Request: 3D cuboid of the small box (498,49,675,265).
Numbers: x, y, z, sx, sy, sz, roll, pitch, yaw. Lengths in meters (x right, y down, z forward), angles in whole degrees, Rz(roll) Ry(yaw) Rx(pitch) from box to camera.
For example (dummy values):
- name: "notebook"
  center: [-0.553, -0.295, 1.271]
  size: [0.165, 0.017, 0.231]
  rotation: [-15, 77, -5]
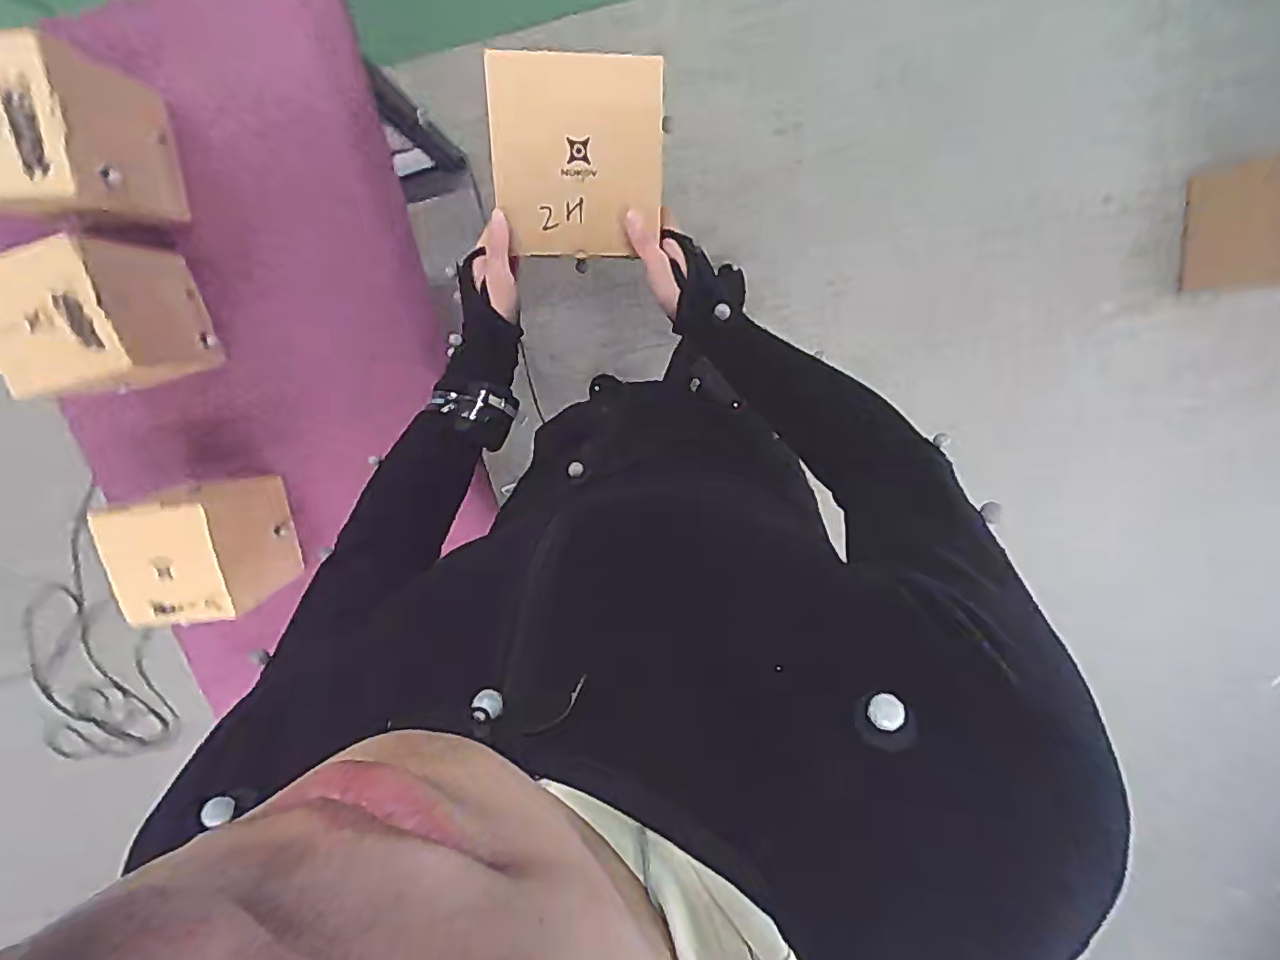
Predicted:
- name: "small box"
  center: [-0.059, -0.336, 0.599]
  size: [0.168, 0.176, 0.179]
  rotation: [0, 112, -4]

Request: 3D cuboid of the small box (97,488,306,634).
- name: "small box"
  center: [-0.662, 0.115, 0.842]
  size: [0.168, 0.176, 0.179]
  rotation: [-5, 103, 2]
